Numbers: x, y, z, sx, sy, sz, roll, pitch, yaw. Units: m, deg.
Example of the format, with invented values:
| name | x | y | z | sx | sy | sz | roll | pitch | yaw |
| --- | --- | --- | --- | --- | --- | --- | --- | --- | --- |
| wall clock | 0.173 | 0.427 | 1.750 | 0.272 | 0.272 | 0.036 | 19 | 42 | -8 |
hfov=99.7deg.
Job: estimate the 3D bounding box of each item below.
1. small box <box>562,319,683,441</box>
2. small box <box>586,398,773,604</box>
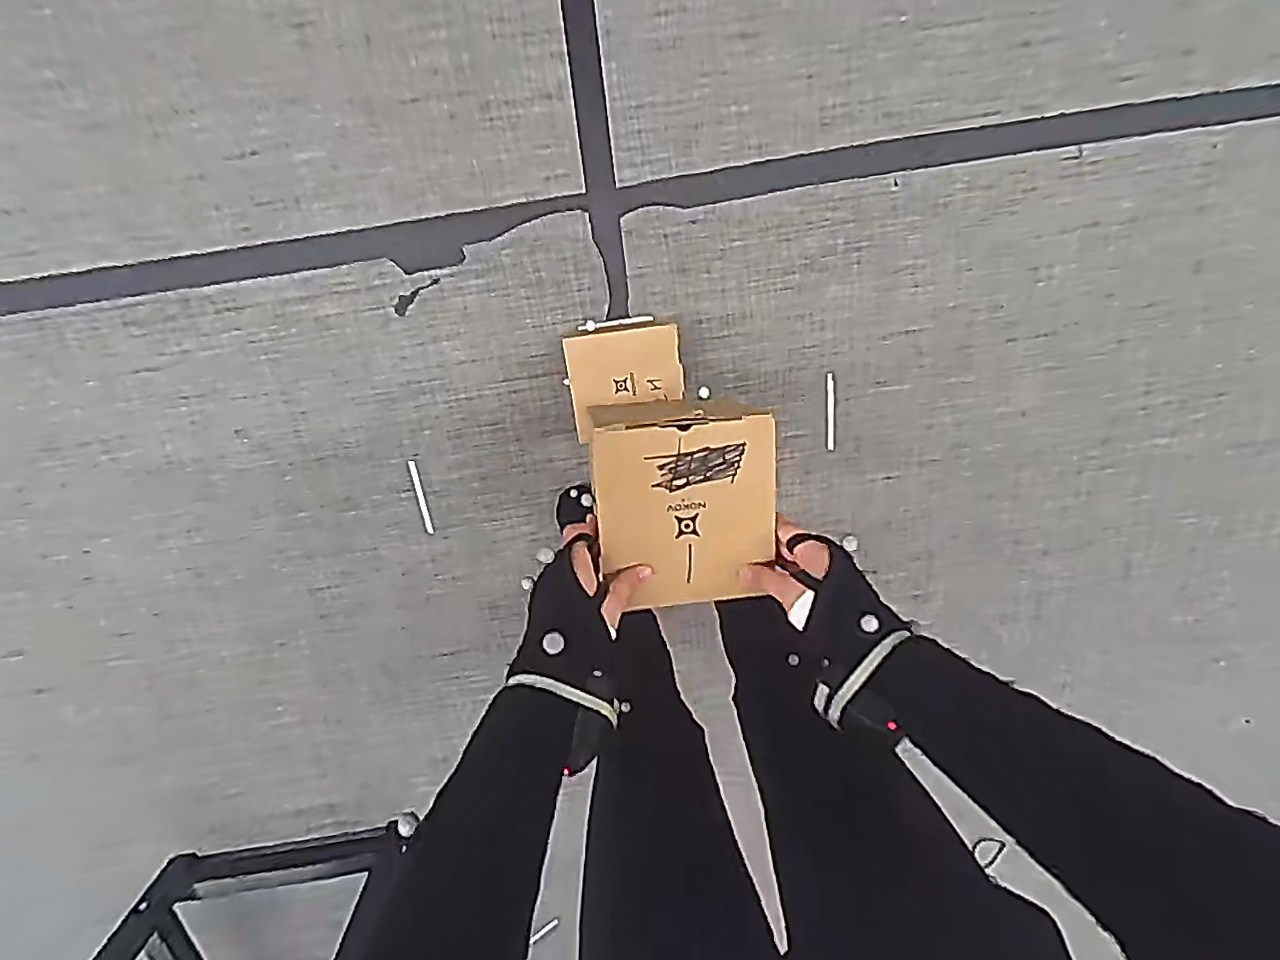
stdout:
| name | x | y | z | sx | sy | sz | roll | pitch | yaw |
| --- | --- | --- | --- | --- | --- | --- | --- | --- | --- |
| small box | -0.028 | -0.173 | 0.907 | 0.179 | 0.176 | 0.168 | -8 | 110 | -2 |
| small box | 0.032 | 0.008 | 0.574 | 0.168 | 0.176 | 0.179 | -4 | 107 | -6 |
